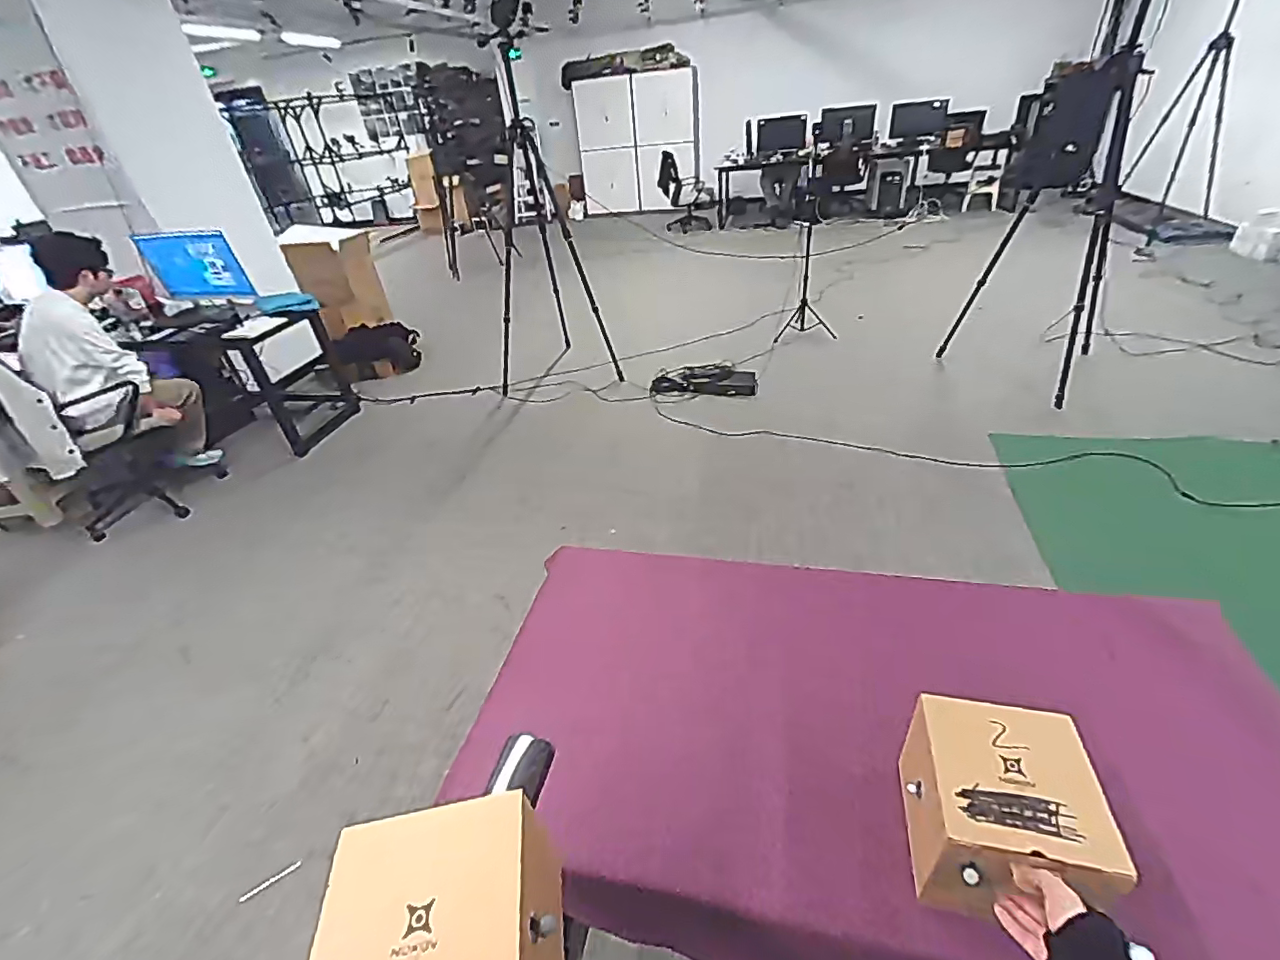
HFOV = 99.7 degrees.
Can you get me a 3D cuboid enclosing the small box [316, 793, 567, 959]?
[{"bbox_3d":[-0.160,0.412,0.469,0.168,0.176,0.179,-10,38,-3],"label":"small box"}]
